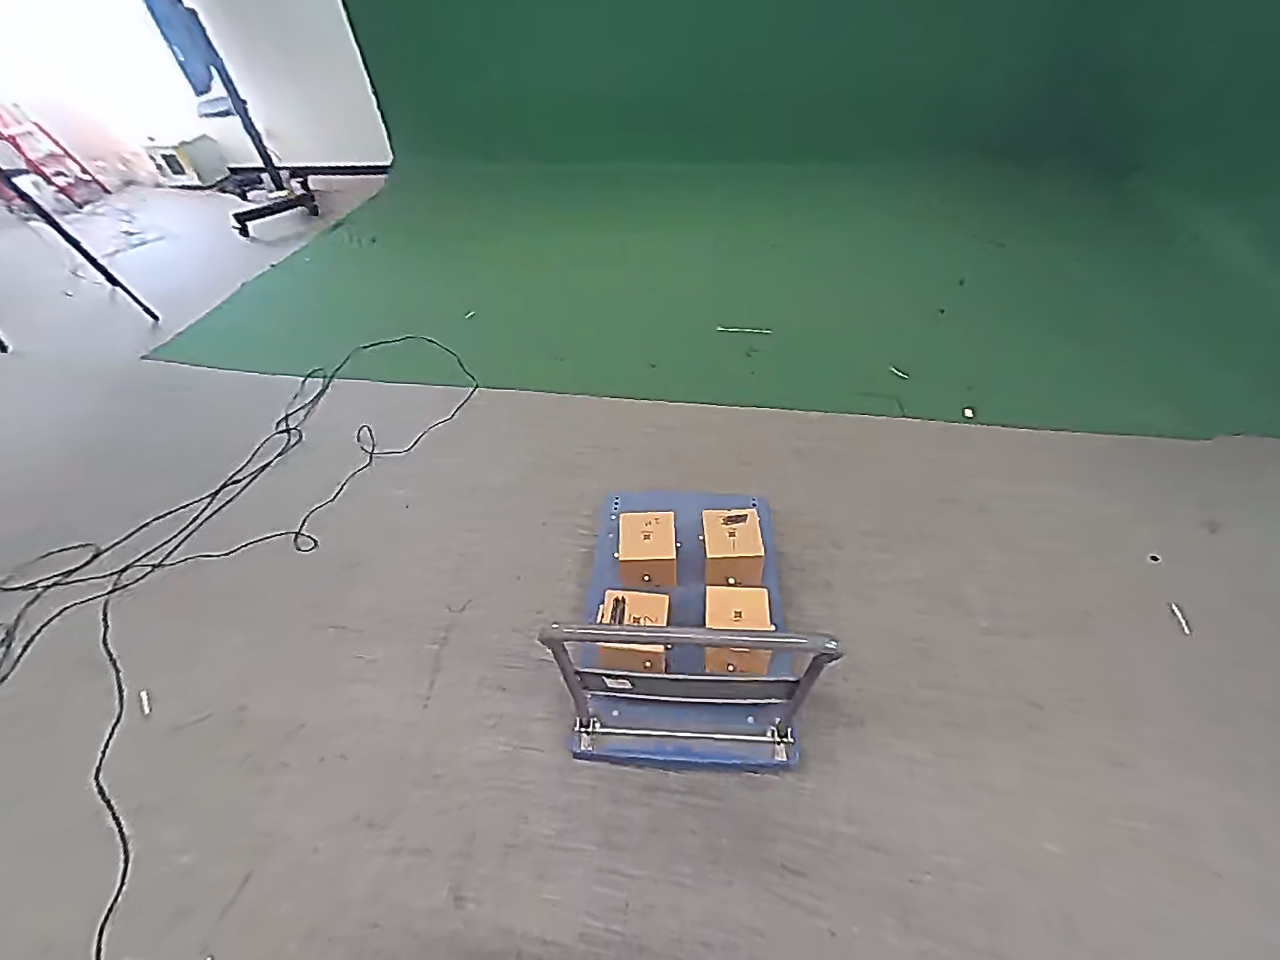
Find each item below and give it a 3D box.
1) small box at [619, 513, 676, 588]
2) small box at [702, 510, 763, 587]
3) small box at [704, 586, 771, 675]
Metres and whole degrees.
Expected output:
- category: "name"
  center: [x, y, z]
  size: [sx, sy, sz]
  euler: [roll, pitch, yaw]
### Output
- category: "small box"
  center: [0.026, 0.224, 1.674]
  size: [0.168, 0.176, 0.179]
  euler: [-2, 47, 2]
- category: "small box"
  center: [0.278, 0.213, 1.664]
  size: [0.168, 0.176, 0.179]
  euler: [-3, 48, 3]
- category: "small box"
  center: [0.261, 0.413, 1.483]
  size: [0.168, 0.176, 0.179]
  euler: [1, 48, 5]
